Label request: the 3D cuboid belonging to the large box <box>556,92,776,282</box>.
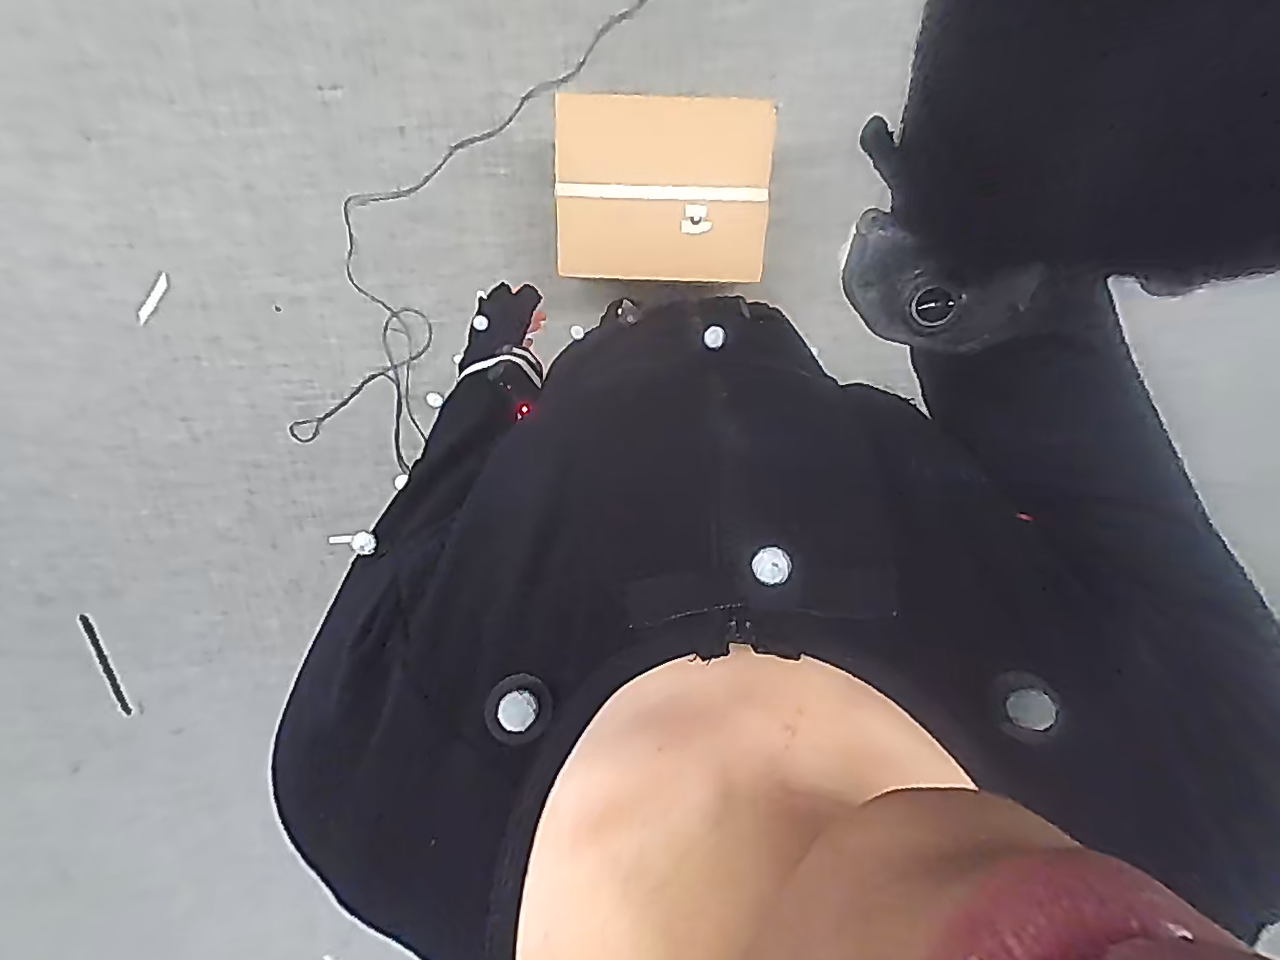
[{"bbox_3d":[0.044,-0.596,1.161,0.408,0.320,0.320,1,109,0],"label":"large box"}]
